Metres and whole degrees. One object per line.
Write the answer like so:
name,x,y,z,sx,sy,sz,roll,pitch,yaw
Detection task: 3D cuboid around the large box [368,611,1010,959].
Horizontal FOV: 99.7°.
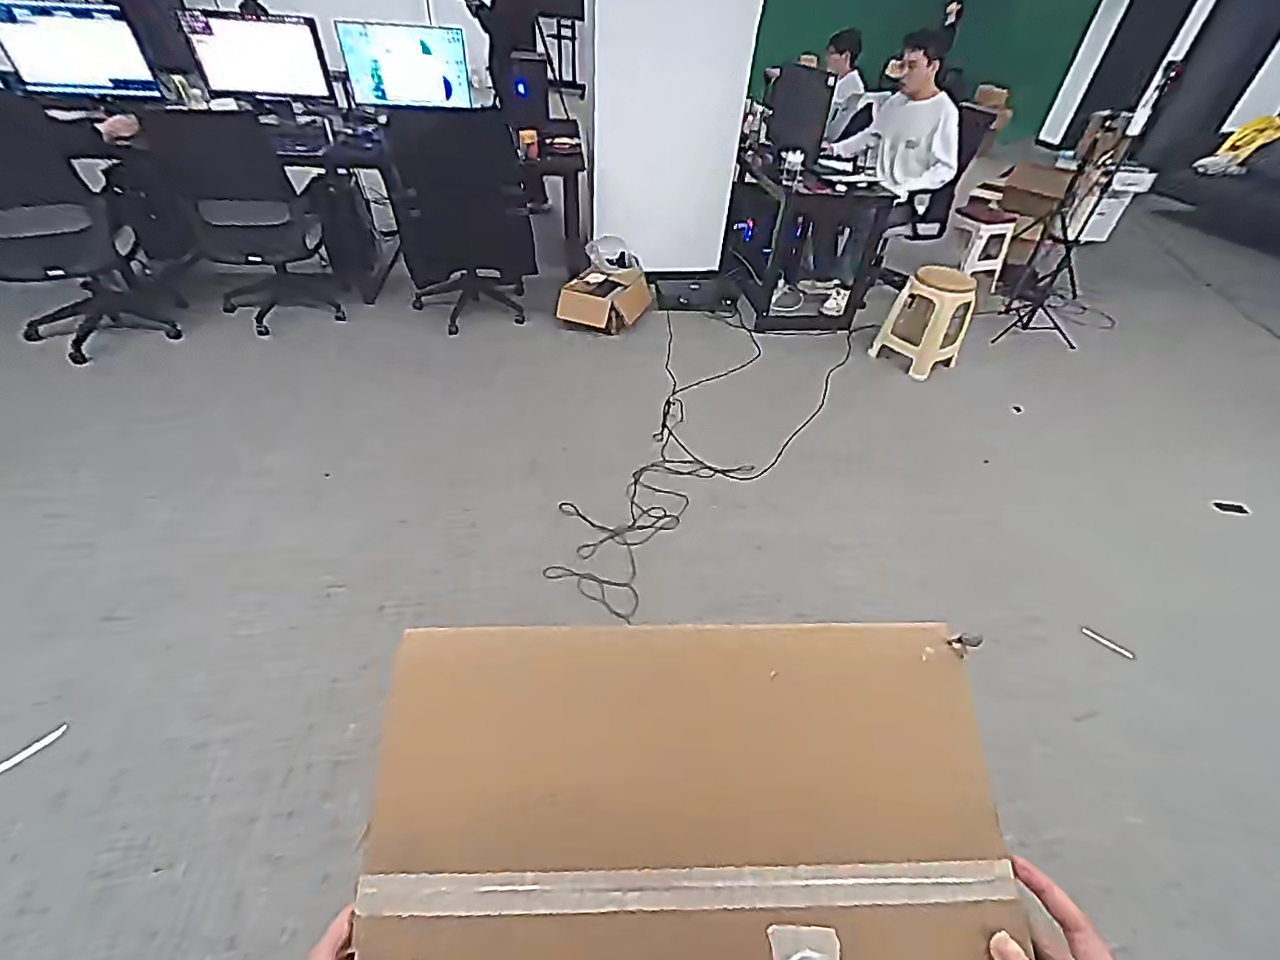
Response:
large box,0.026,0.303,0.489,0.408,0.320,0.320,0,69,-1
